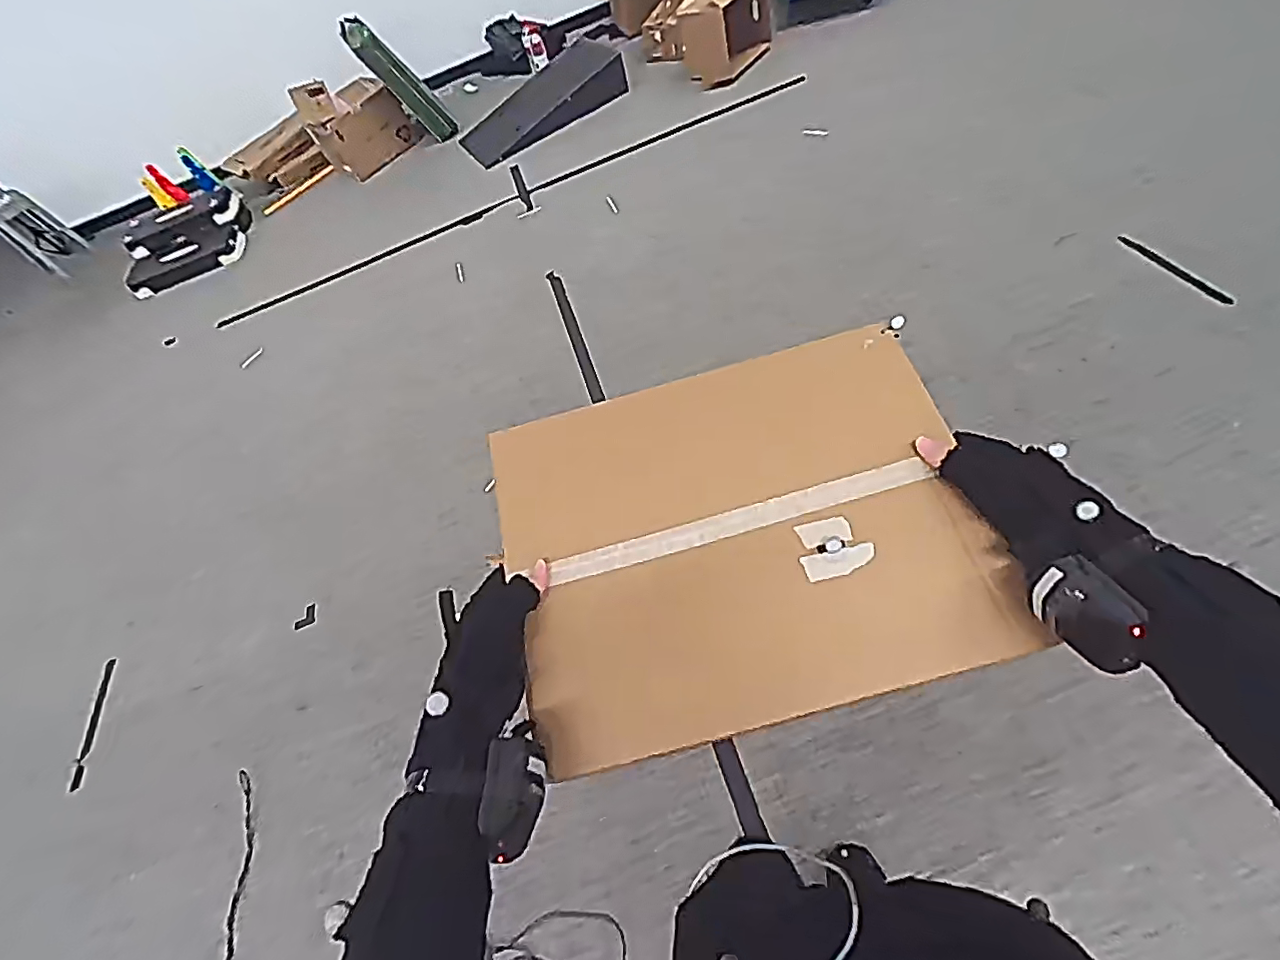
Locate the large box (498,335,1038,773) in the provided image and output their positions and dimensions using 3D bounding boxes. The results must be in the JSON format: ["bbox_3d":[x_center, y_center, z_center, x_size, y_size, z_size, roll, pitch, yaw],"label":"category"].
[{"bbox_3d":[0.100,0.102,0.615,0.408,0.320,0.320,-16,65,0],"label":"large box"}]
